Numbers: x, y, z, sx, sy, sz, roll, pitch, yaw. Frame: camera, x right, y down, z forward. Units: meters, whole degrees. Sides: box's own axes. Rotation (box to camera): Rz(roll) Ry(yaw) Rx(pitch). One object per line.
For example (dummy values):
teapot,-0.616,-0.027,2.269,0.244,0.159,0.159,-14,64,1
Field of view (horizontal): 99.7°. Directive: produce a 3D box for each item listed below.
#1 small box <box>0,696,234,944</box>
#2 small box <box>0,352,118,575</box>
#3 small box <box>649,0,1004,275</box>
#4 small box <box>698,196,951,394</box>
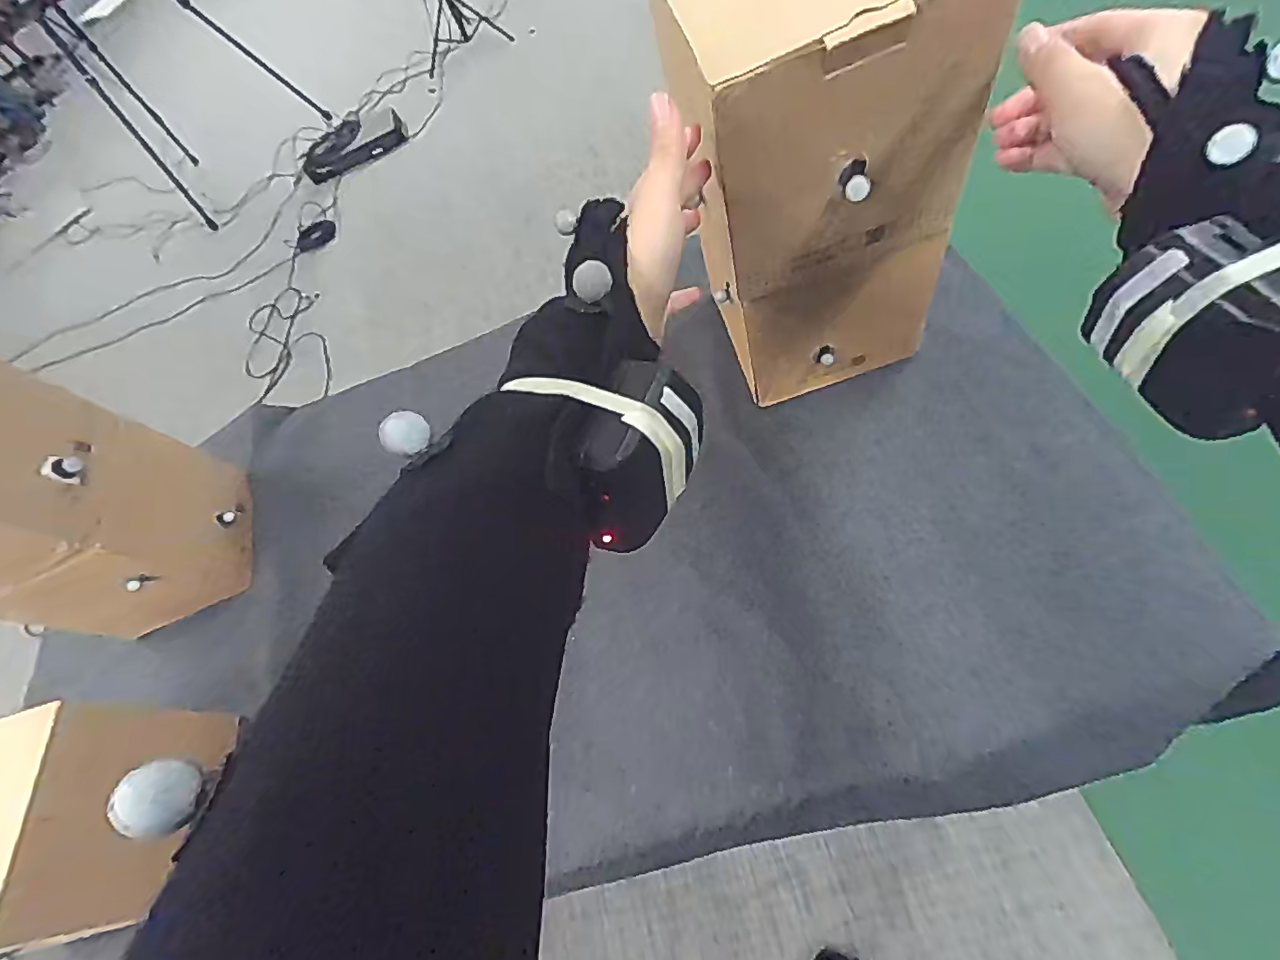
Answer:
small box,-0.513,0.303,0.483,0.179,0.176,0.168,-19,60,7
small box,-0.636,-0.011,0.483,0.179,0.176,0.168,-23,64,4
small box,0.115,-0.272,0.376,0.168,0.176,0.179,-18,65,8
small box,0.159,-0.215,0.523,0.168,0.176,0.179,-19,64,8
